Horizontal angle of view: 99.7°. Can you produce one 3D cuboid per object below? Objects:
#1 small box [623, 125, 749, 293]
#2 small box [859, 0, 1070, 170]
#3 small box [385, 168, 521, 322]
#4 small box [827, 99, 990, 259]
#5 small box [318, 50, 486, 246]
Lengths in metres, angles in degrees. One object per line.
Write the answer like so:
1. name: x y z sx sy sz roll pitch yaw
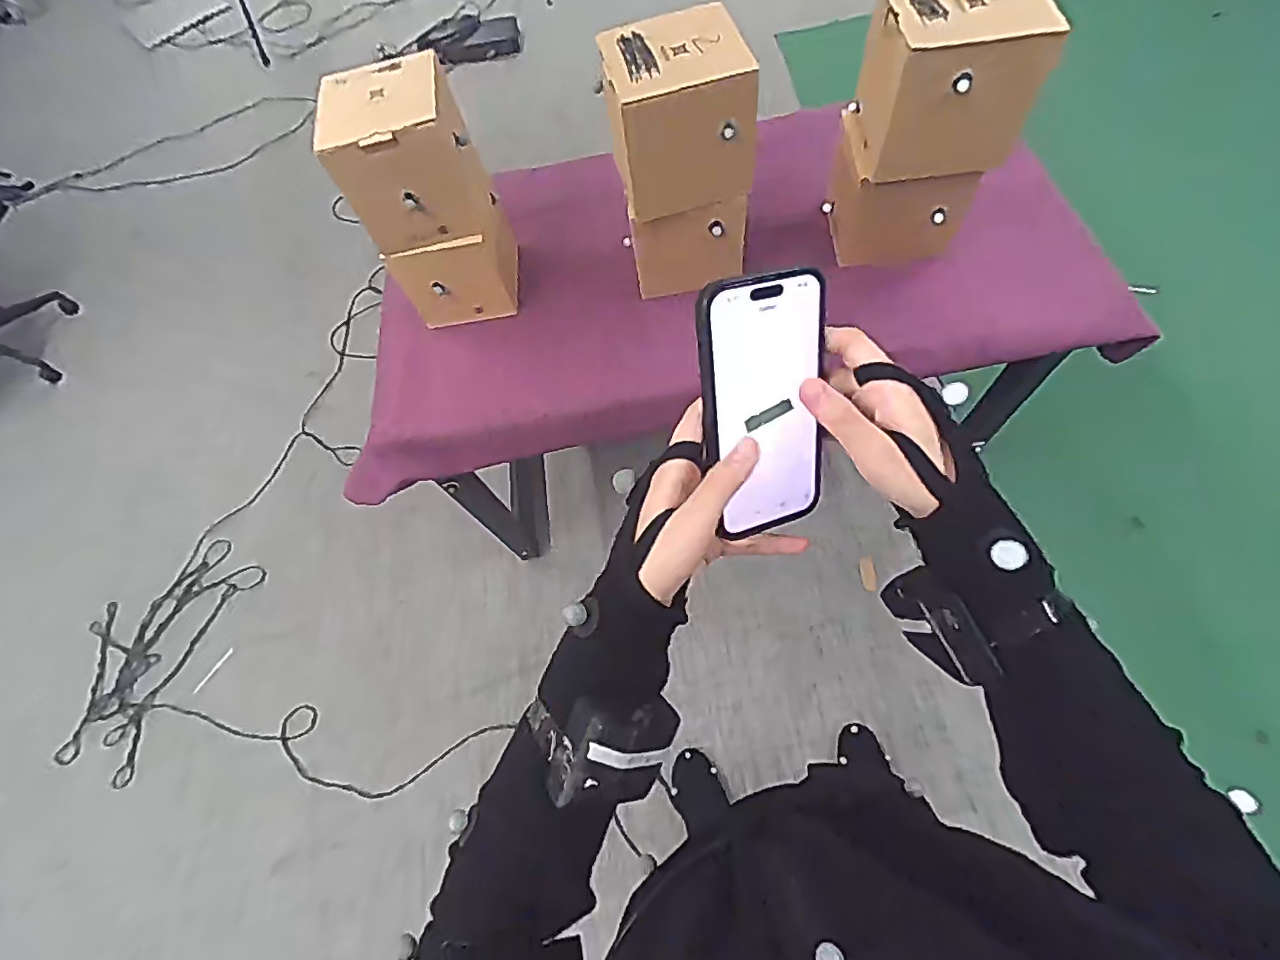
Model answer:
1. small box: 0.075 -0.438 0.894 0.179 0.176 0.168 -9 64 5
2. small box: 0.399 -0.537 0.709 0.179 0.176 0.168 -4 64 6
3. small box: -0.311 -0.393 0.934 0.168 0.176 0.179 -9 64 5
4. small box: 0.411 -0.480 0.862 0.179 0.176 0.168 -4 64 7
5. small box: -0.335 -0.470 0.791 0.168 0.176 0.179 -13 64 2
